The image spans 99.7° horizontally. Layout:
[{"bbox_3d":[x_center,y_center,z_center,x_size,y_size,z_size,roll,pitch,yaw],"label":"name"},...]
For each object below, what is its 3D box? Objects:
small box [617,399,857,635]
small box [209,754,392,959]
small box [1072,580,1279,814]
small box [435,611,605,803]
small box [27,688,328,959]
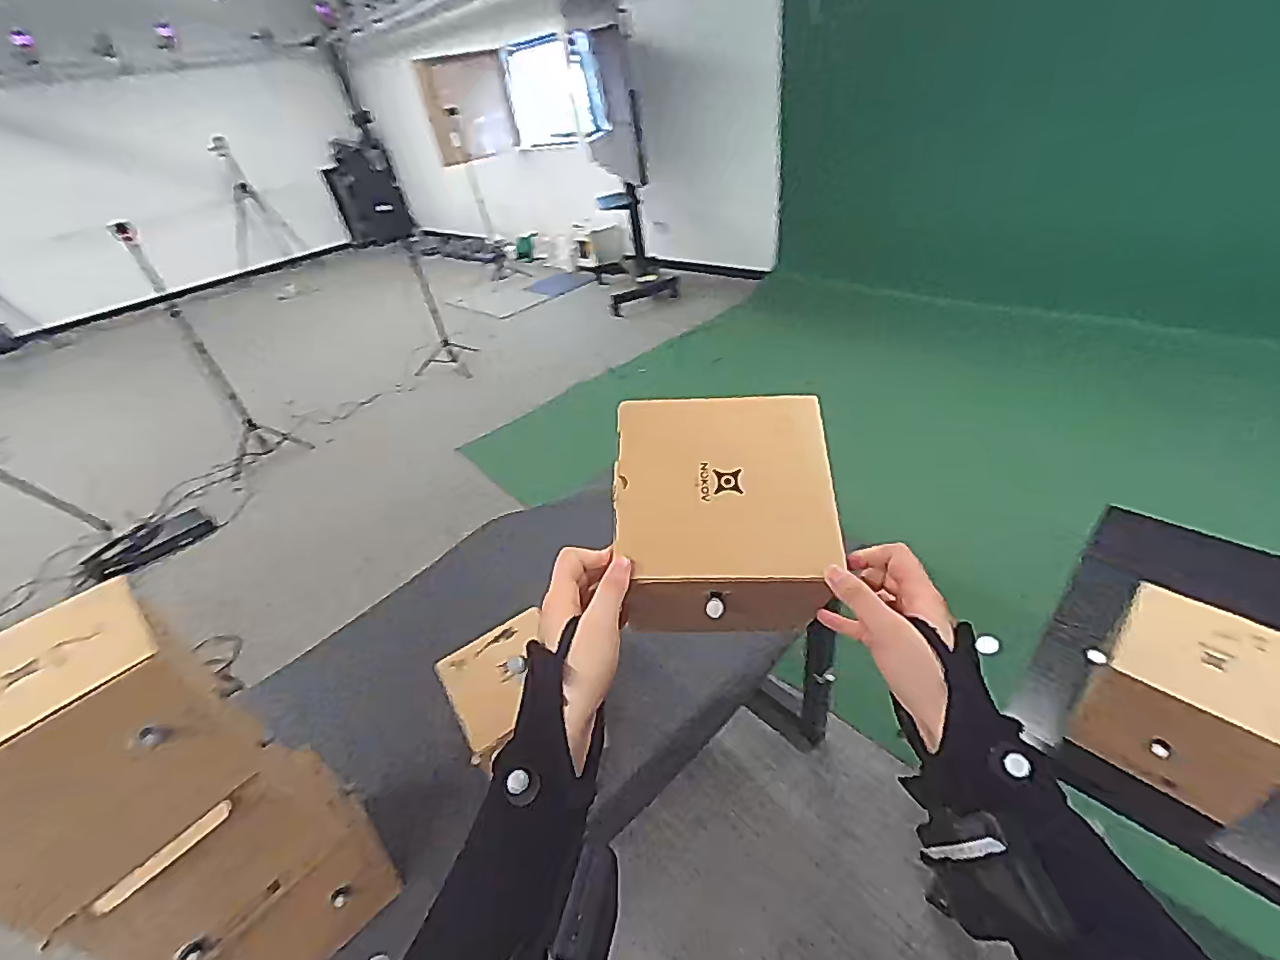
[{"bbox_3d":[0.078,0.043,0.499,0.179,0.176,0.168,-2,62,5],"label":"small box"},{"bbox_3d":[-0.433,0.490,0.661,0.179,0.176,0.168,-36,41,-30],"label":"small box"},{"bbox_3d":[0.680,0.267,0.677,0.179,0.176,0.168,-35,44,-30],"label":"small box"},{"bbox_3d":[-0.171,0.338,0.798,0.168,0.176,0.179,-29,39,-22],"label":"small box"},{"bbox_3d":[-0.465,0.364,0.561,0.179,0.176,0.168,20,45,38],"label":"small box"}]
